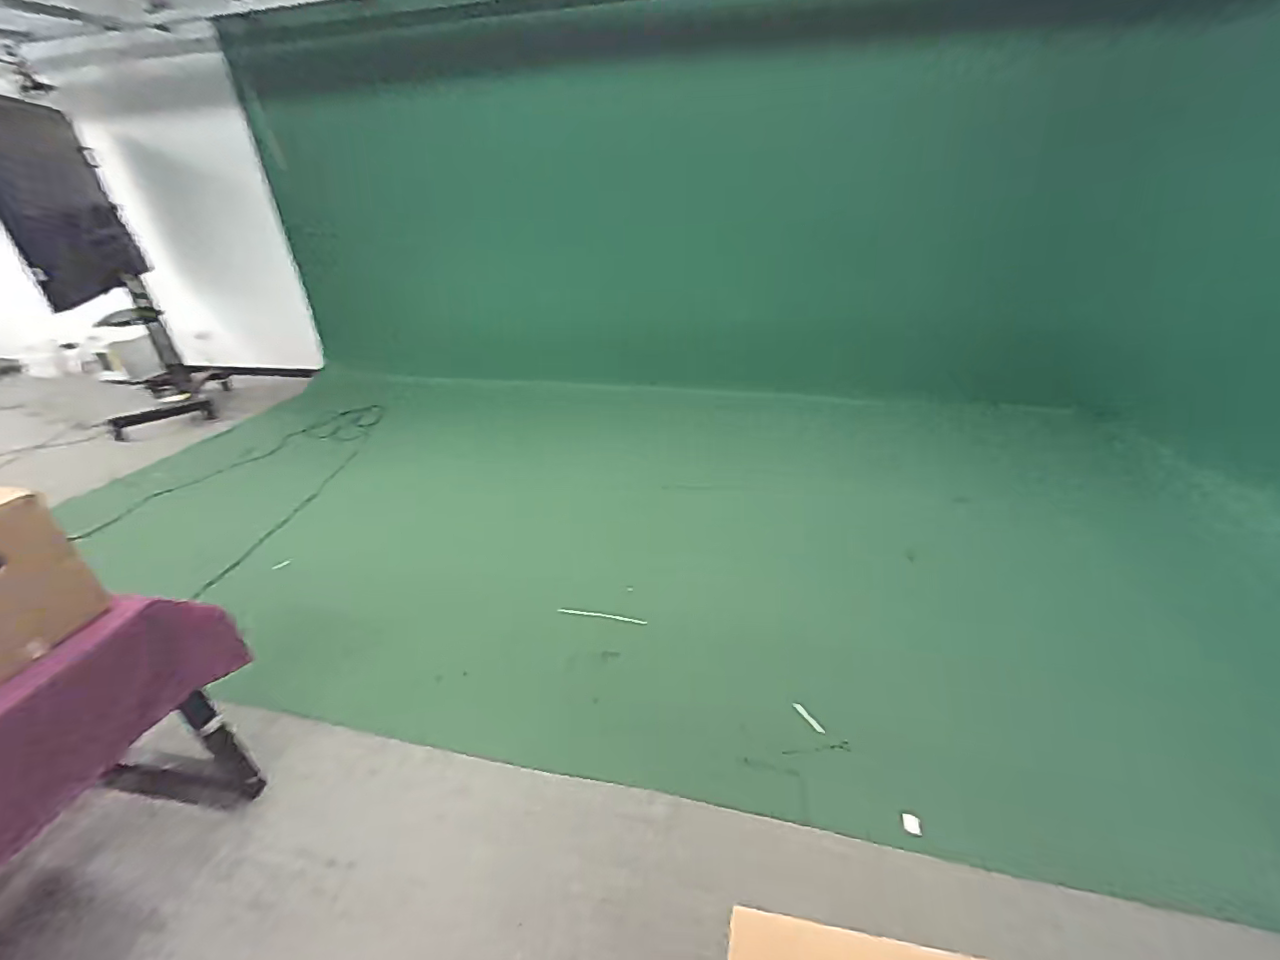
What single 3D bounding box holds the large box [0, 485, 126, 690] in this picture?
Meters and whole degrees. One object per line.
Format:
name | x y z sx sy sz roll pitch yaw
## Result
large box | -1.417 0.211 1.098 0.408 0.320 0.320 6 31 12
